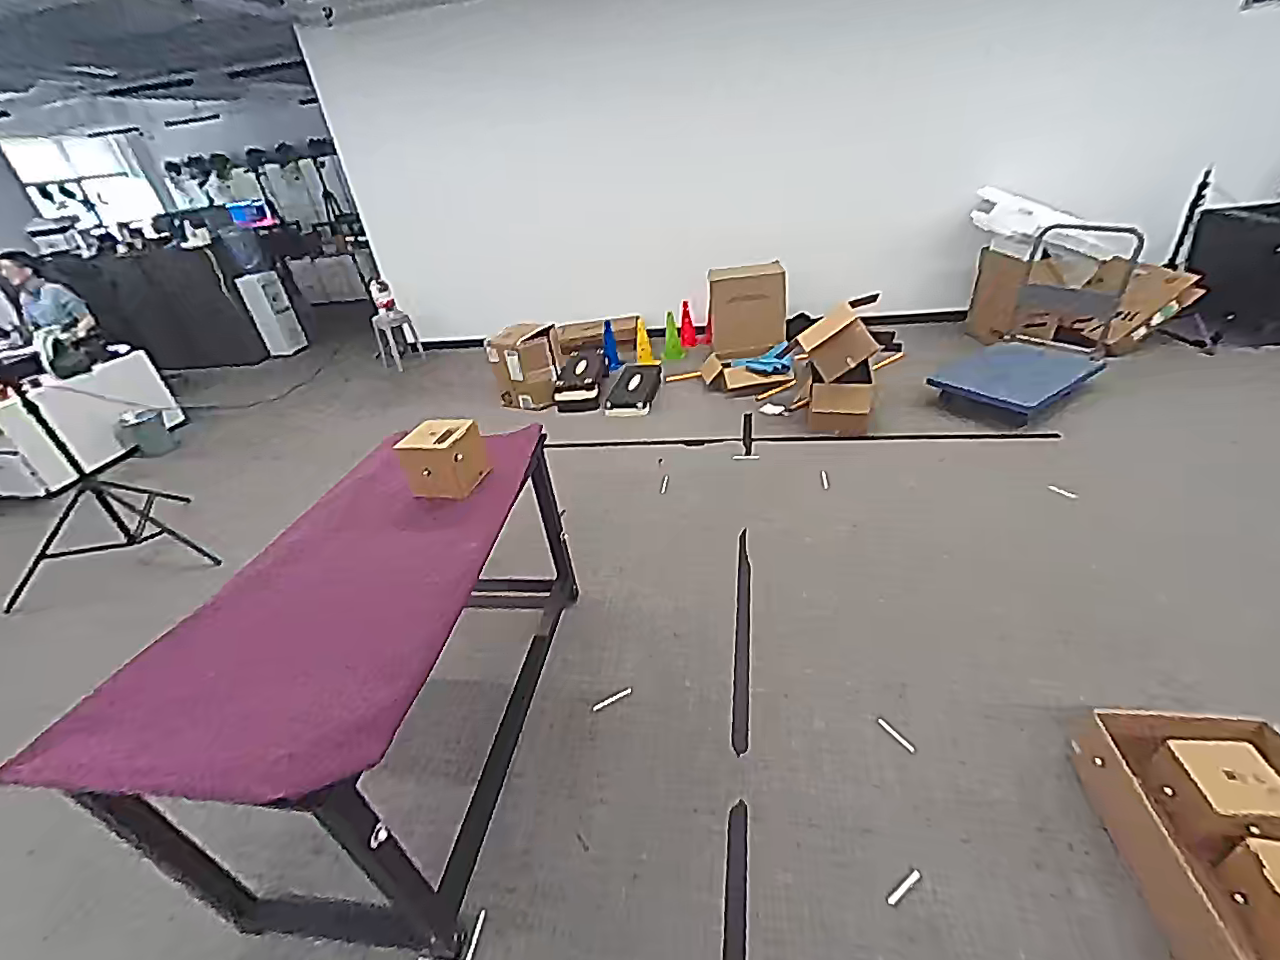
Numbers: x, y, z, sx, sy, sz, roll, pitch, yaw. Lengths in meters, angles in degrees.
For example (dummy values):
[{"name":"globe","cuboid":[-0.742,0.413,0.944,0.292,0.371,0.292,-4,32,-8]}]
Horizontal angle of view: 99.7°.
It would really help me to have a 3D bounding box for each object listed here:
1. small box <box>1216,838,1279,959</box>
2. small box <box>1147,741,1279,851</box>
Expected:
[{"name":"small box","cuboid":[1.319,0.847,1.064,0.179,0.176,0.168,1,33,15]},{"name":"small box","cuboid":[1.329,0.727,1.245,0.179,0.176,0.168,-2,34,9]}]
